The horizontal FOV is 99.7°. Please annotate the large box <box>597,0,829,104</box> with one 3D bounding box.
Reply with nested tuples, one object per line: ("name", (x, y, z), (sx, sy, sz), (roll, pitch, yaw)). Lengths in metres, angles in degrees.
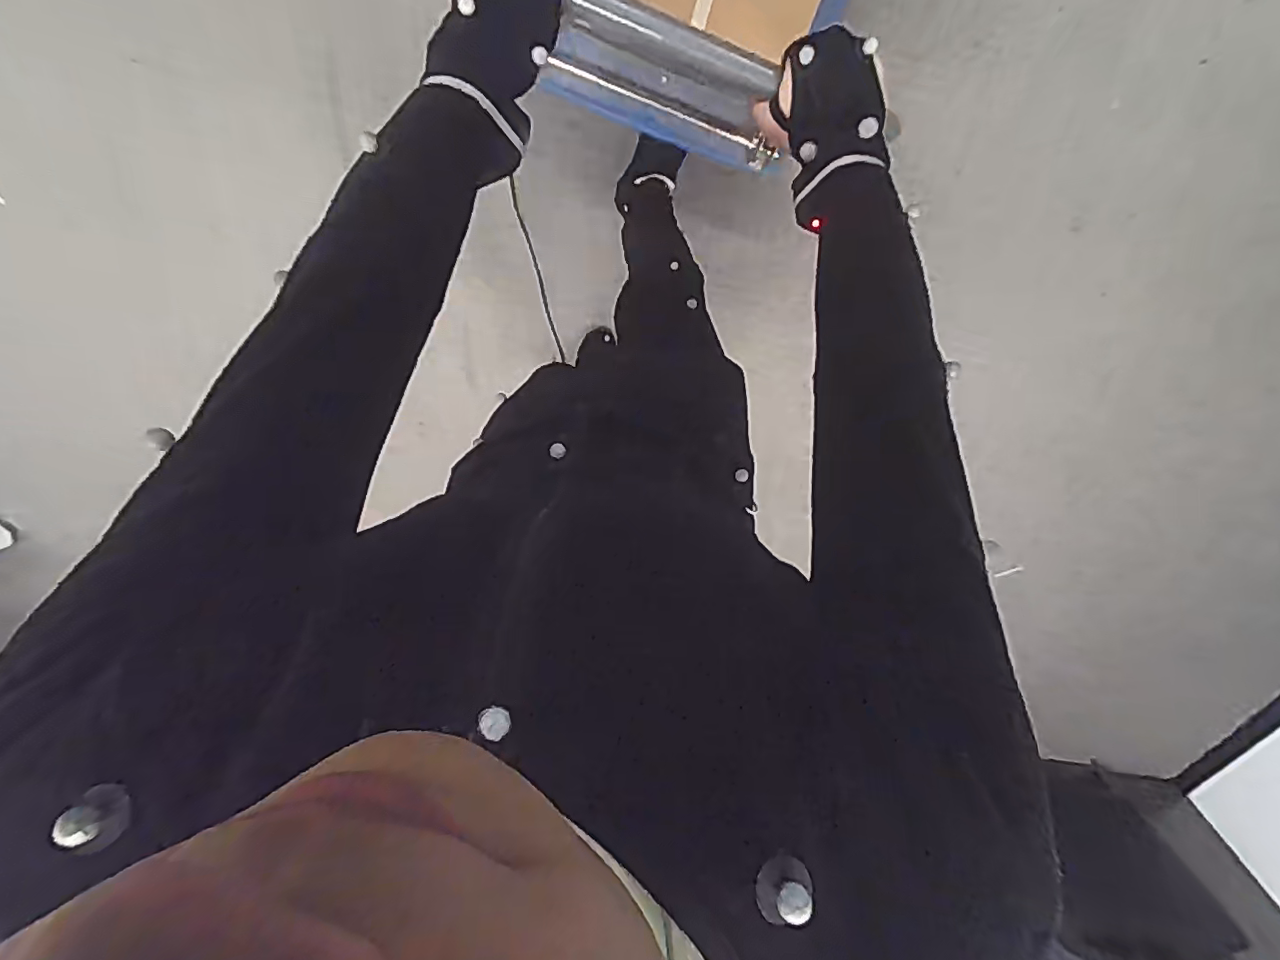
("large box", (0.145, -0.853, 0.805), (0.320, 0.320, 0.408), (16, 120, -9))
